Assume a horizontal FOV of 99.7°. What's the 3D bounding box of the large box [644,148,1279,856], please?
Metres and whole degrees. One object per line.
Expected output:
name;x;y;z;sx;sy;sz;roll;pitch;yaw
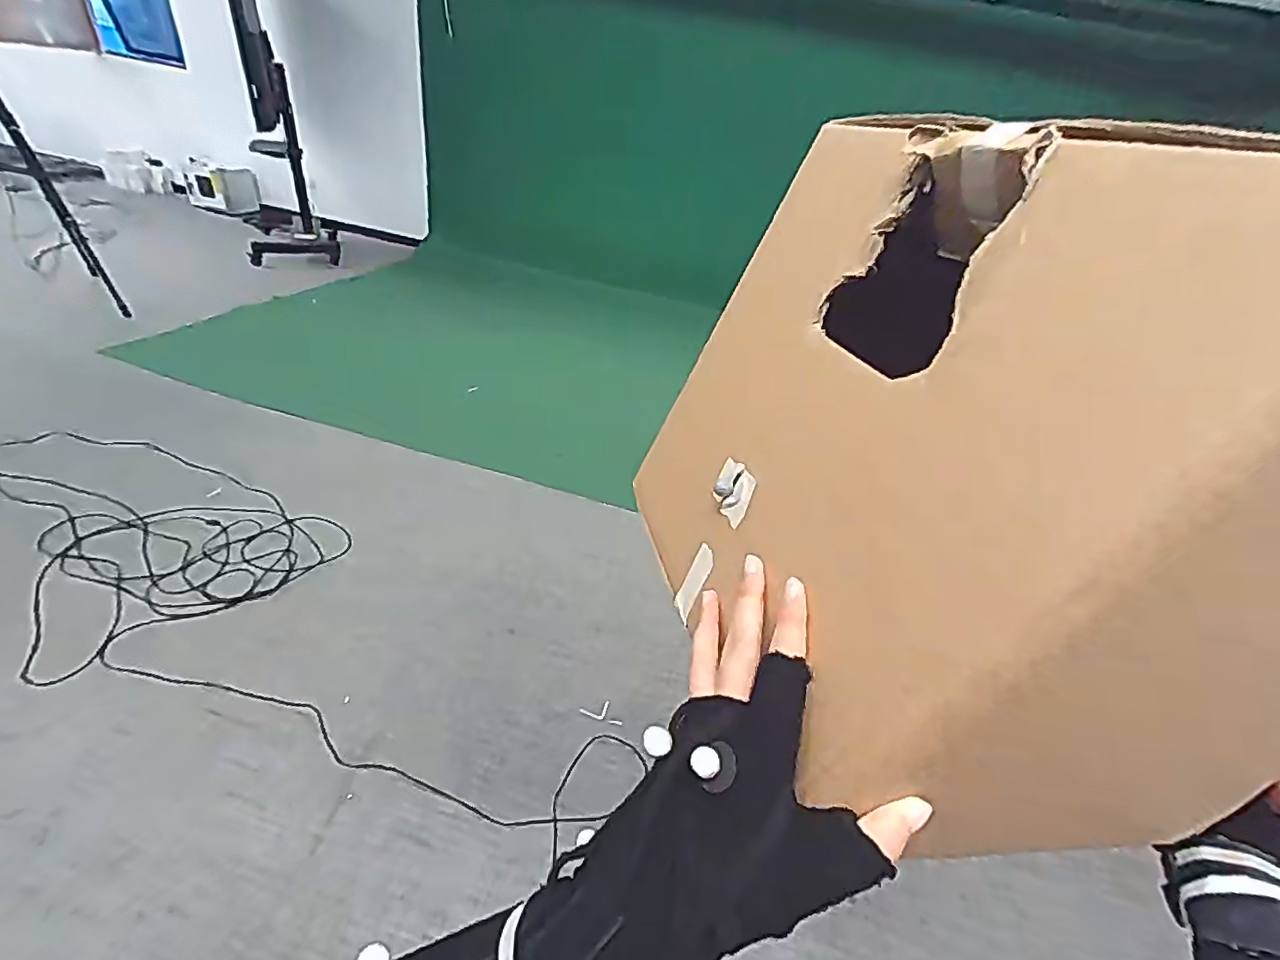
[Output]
large box;0.271;0.023;0.394;0.408;0.320;0.320;17;28;-25
